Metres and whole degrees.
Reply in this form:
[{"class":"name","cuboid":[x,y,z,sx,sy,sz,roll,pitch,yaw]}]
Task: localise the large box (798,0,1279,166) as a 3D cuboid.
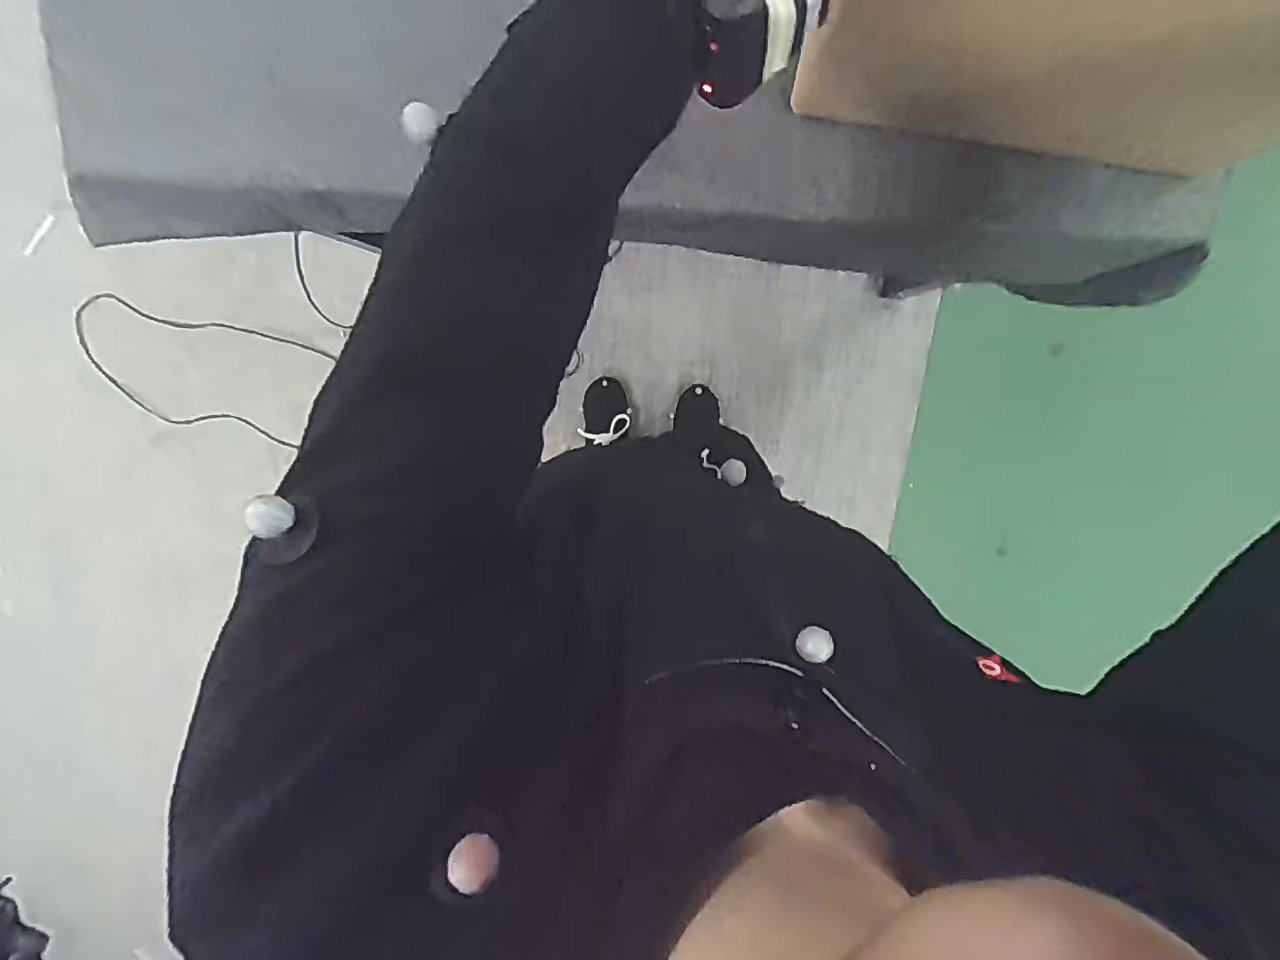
[{"class":"large box","cuboid":[0.359,-0.446,0.352,0.408,0.320,0.320,10,103,1]}]
